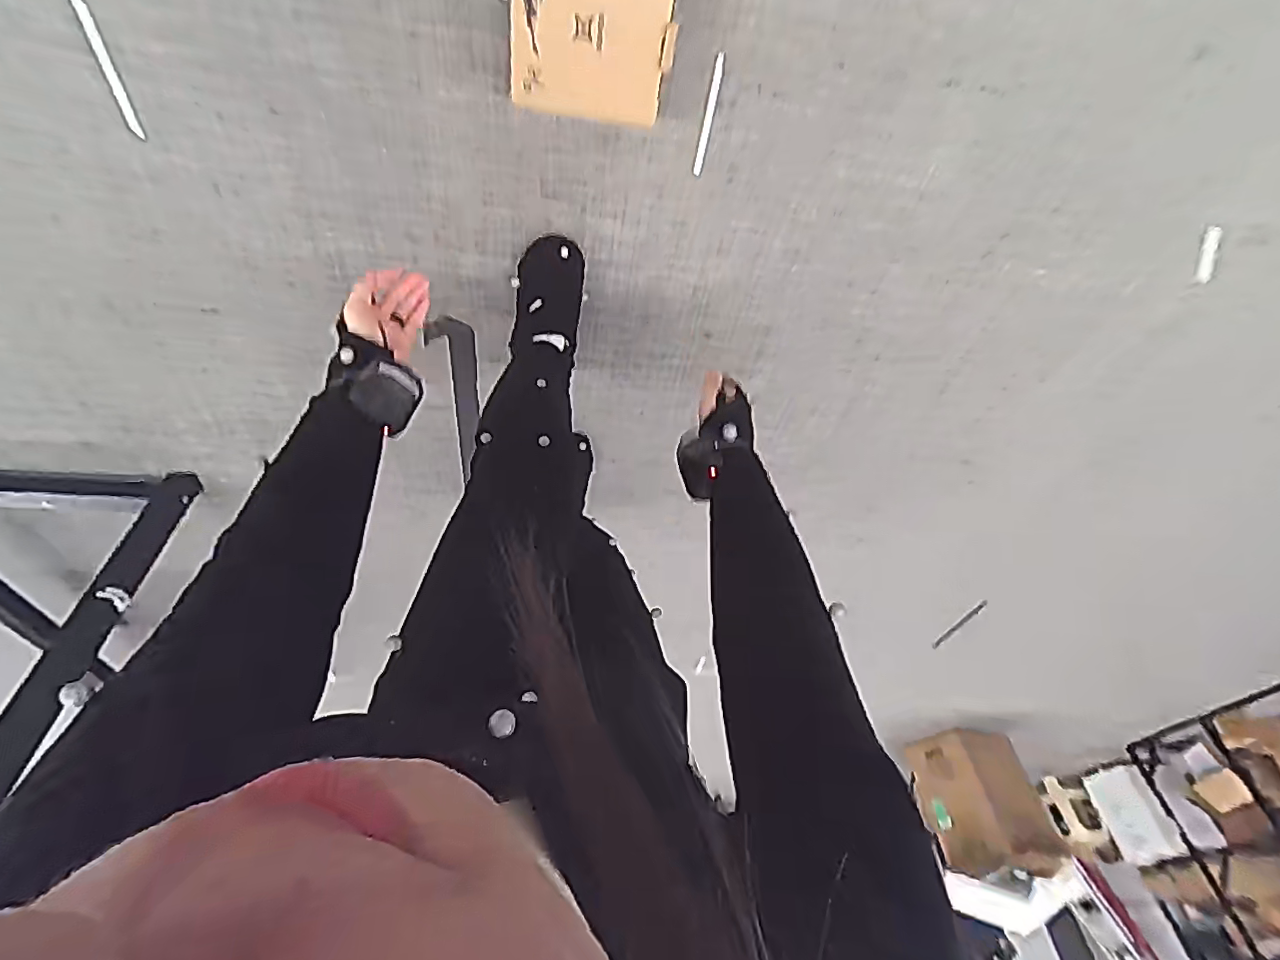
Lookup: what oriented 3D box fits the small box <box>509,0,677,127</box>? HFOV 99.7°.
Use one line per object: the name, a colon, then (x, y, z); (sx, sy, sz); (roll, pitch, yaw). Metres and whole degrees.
small box: (-0.061, -0.549, 0.638); (0.179, 0.176, 0.168); (3, 138, -11)
